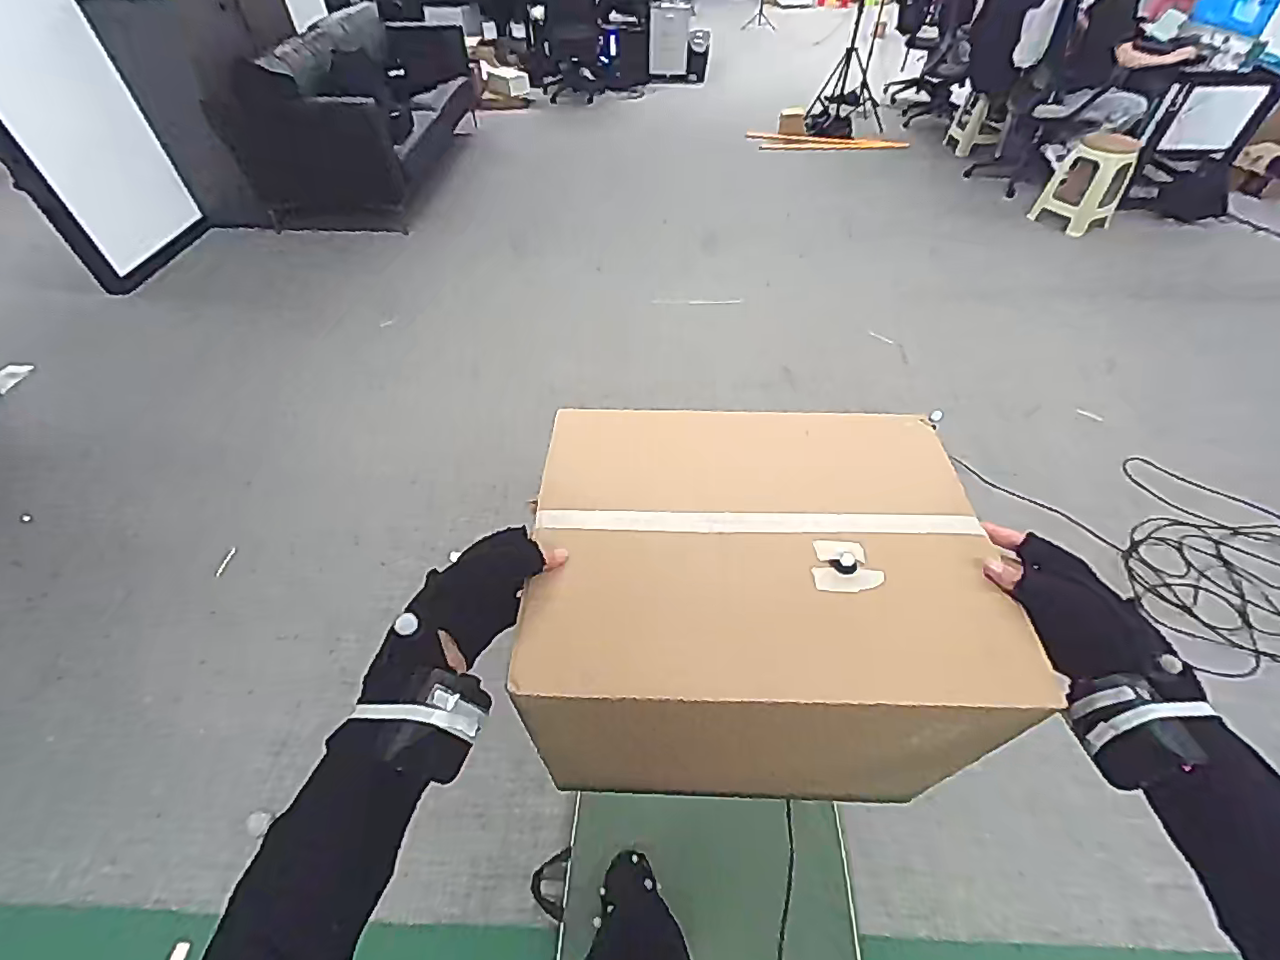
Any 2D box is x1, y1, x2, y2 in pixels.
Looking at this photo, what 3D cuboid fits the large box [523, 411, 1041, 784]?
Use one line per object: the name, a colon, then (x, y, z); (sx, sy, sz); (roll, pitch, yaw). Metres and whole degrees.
large box: (0.106, 0.138, 0.616); (0.408, 0.320, 0.320); (1, 49, 0)
